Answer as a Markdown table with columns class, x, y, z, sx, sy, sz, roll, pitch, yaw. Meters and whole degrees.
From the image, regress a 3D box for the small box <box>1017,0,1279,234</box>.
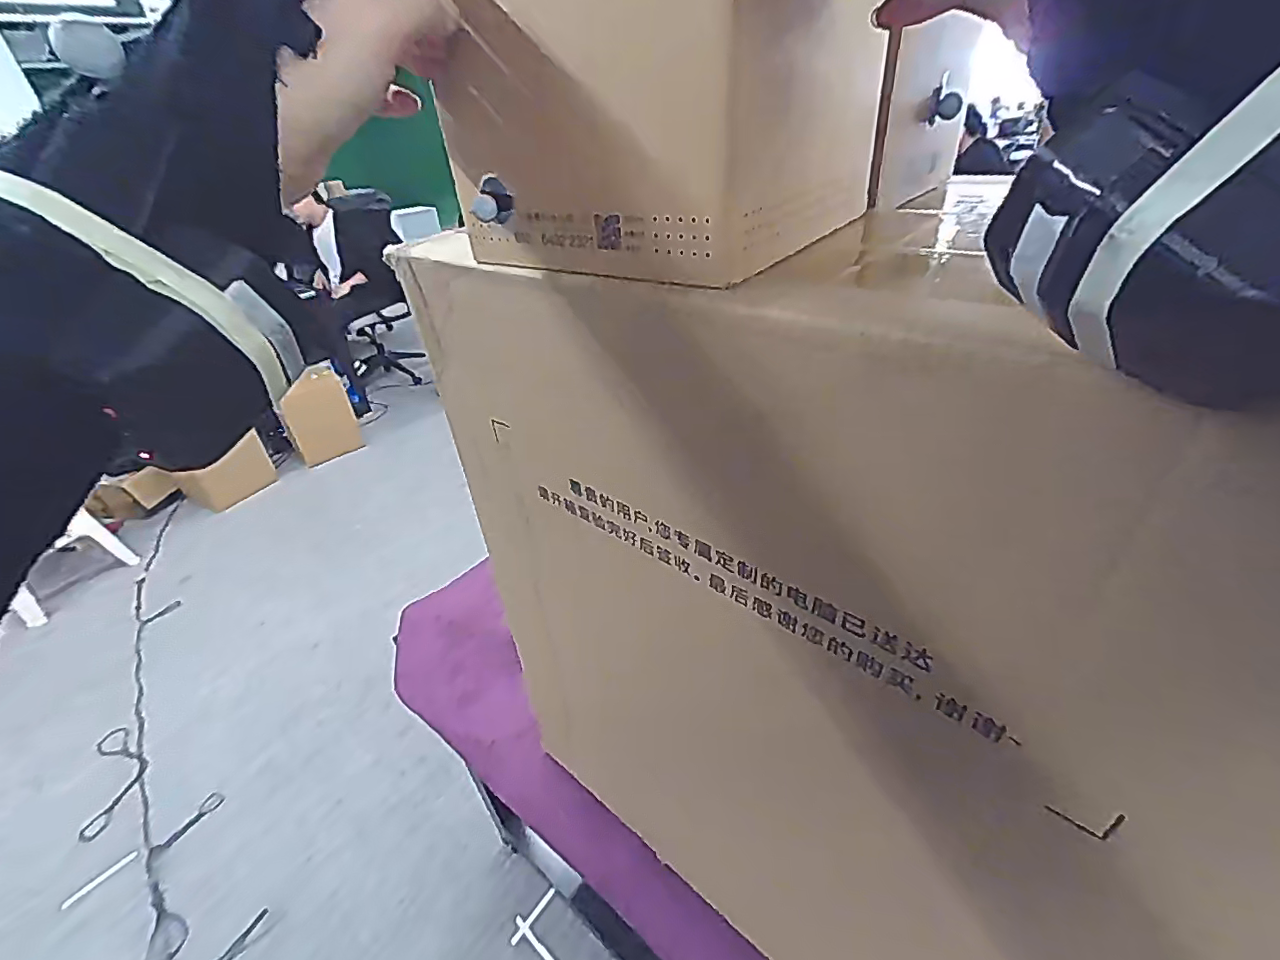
| class | x | y | z | sx | sy | sz | roll | pitch | yaw |
| --- | --- | --- | --- | --- | --- | --- | --- | --- | --- |
| small box | 0.323 | -0.228 | 0.270 | 0.179 | 0.176 | 0.168 | 17 | 40 | 33 |
